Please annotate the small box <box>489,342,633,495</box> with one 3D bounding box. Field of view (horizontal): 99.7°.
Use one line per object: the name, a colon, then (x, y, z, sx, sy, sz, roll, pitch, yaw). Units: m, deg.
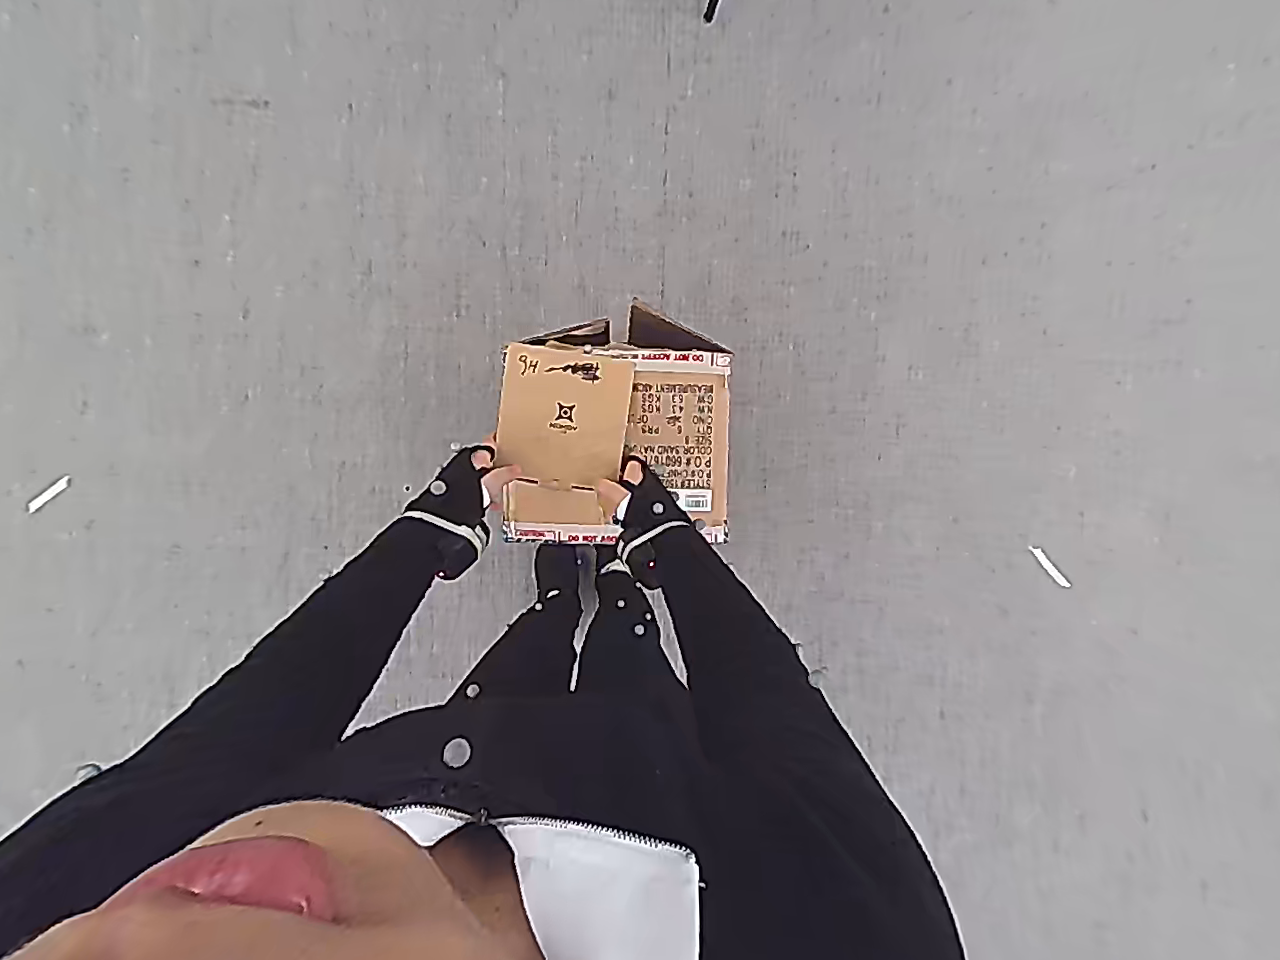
small box: (-0.108, -0.086, 0.774, 0.168, 0.176, 0.179, 8, 96, -6)
